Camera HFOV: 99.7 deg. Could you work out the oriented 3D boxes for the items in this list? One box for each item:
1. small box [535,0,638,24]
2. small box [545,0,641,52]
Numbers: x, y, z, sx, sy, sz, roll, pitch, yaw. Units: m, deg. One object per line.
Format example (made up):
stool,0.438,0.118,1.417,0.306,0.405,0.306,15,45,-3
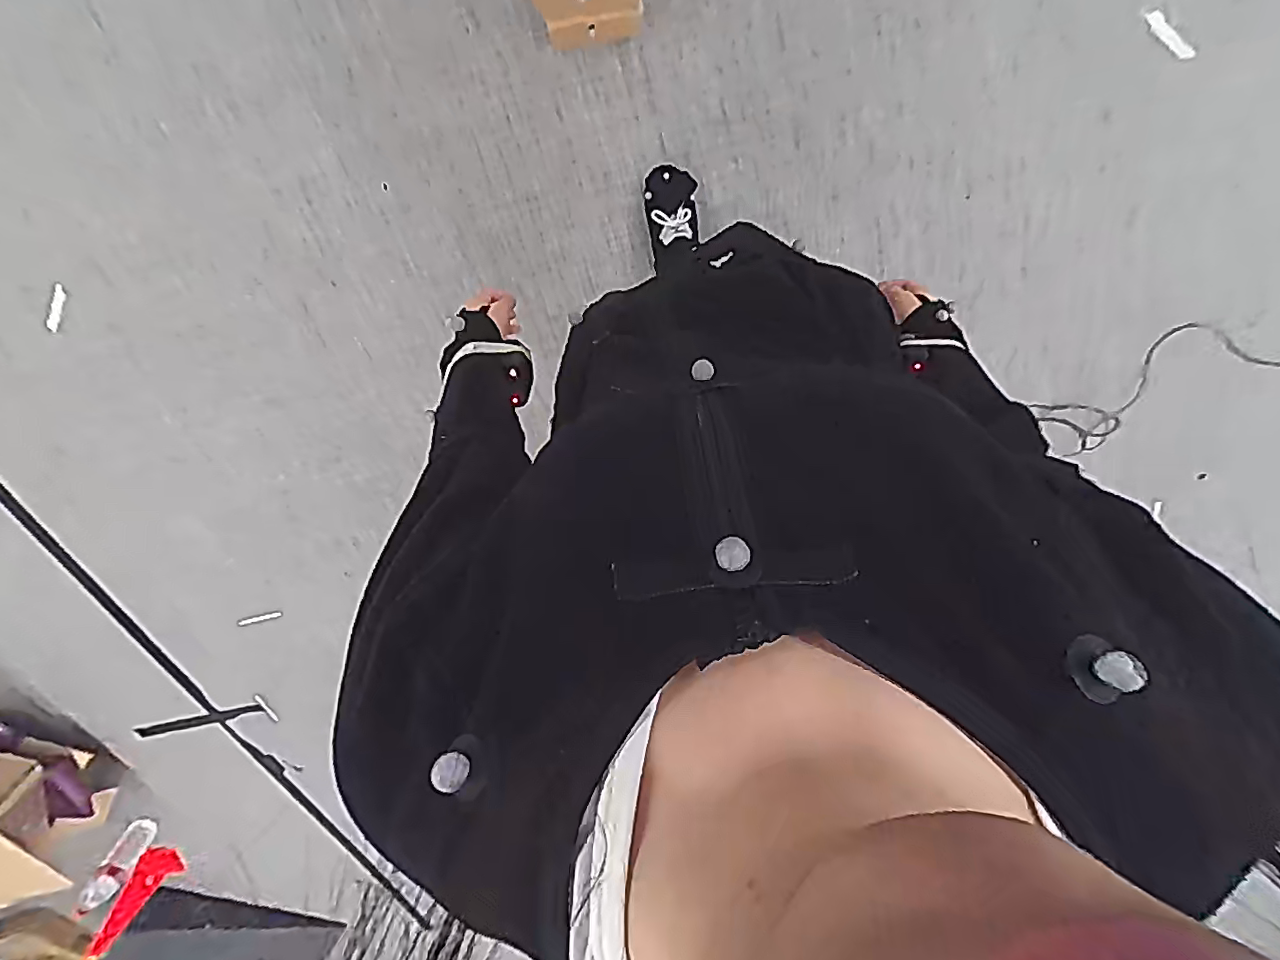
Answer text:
small box,-0.095,-0.862,0.868,0.179,0.176,0.168,-5,119,1
small box,-0.097,-0.933,1.016,0.179,0.176,0.168,-8,119,2
